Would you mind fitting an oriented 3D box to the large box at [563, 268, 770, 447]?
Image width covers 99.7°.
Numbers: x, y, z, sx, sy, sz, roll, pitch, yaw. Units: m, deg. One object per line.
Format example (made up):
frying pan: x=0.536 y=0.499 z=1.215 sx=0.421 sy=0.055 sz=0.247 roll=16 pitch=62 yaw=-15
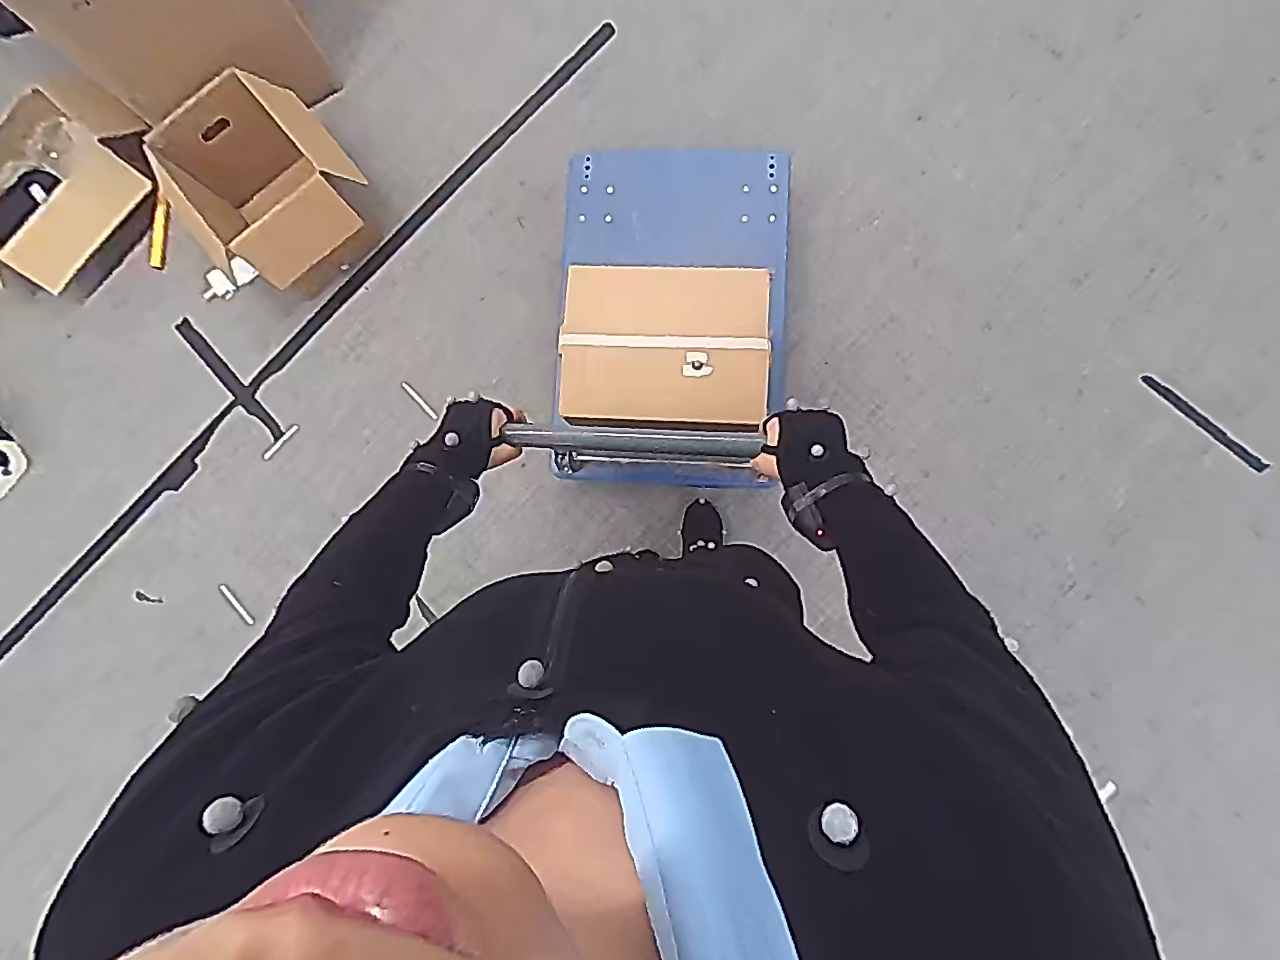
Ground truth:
large box: x=0.059 y=-0.253 z=1.210 sx=0.408 sy=0.320 sz=0.320 roll=3 pitch=85 yaw=4
